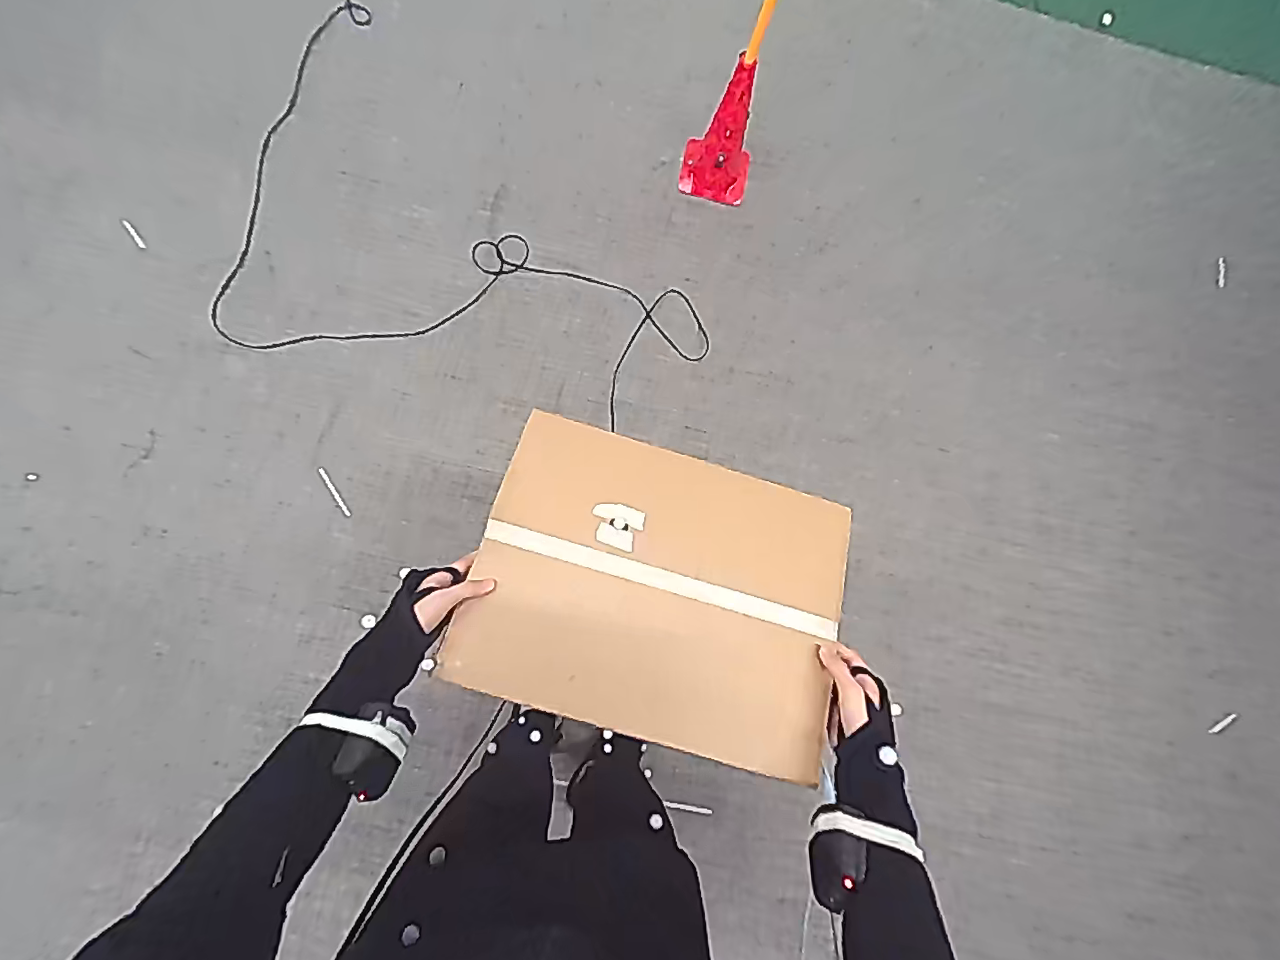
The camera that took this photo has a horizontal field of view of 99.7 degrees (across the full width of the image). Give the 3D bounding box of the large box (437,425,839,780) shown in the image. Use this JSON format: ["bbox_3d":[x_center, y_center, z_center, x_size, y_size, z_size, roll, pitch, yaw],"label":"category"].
[{"bbox_3d":[0.002,0.172,0.748,0.408,0.320,0.320,17,68,-1],"label":"large box"}]
